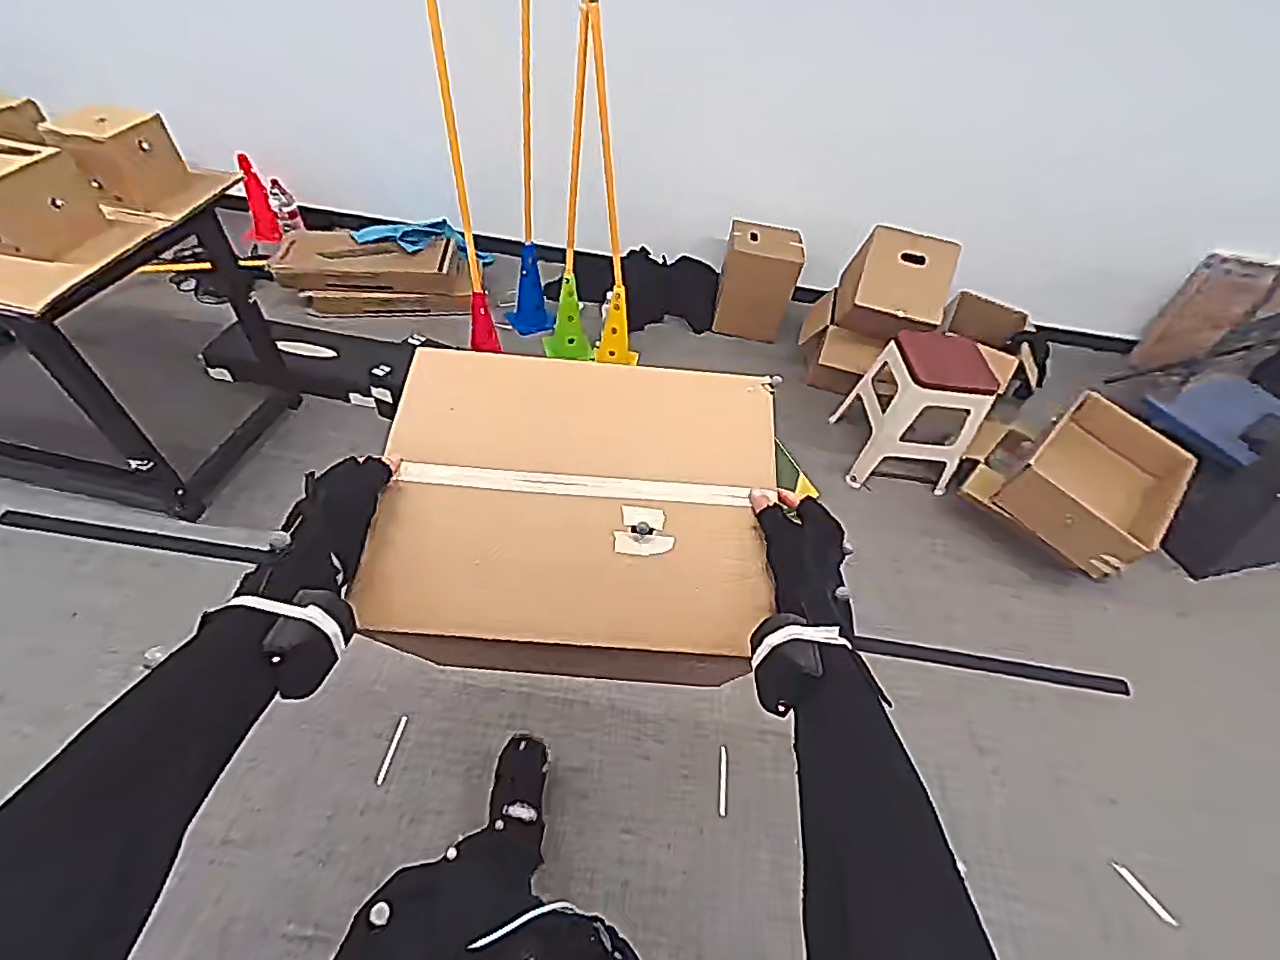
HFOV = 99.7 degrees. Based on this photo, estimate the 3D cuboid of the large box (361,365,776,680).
[{"bbox_3d":[-0.071,0.078,0.710,0.408,0.320,0.320,4,65,-2],"label":"large box"}]
